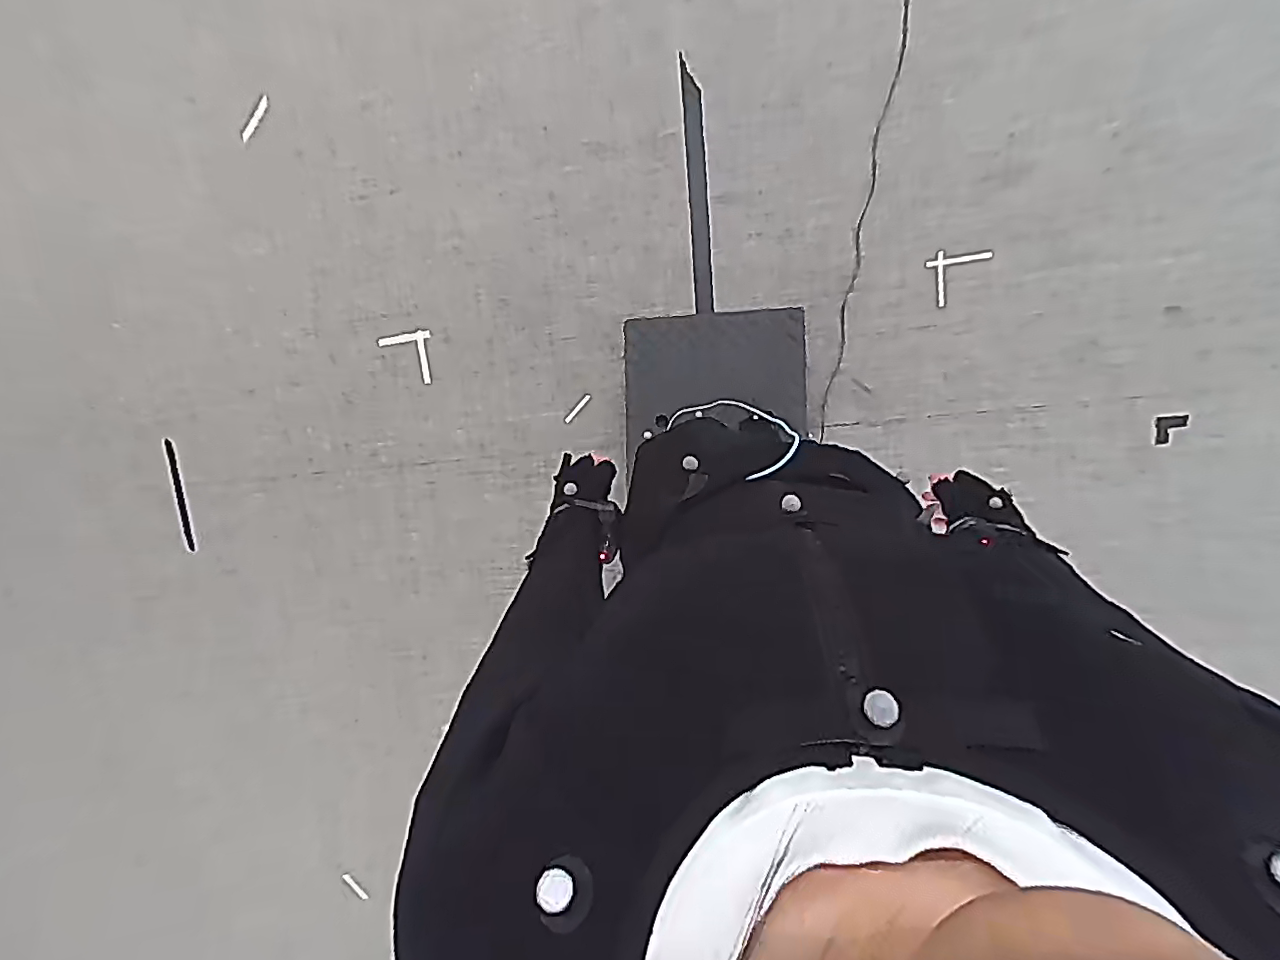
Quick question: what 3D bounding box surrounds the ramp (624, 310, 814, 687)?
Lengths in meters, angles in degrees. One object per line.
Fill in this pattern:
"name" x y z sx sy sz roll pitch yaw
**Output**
"ramp" 0.202 0.047 1.467 0.509 0.206 0.991 -3 97 11
